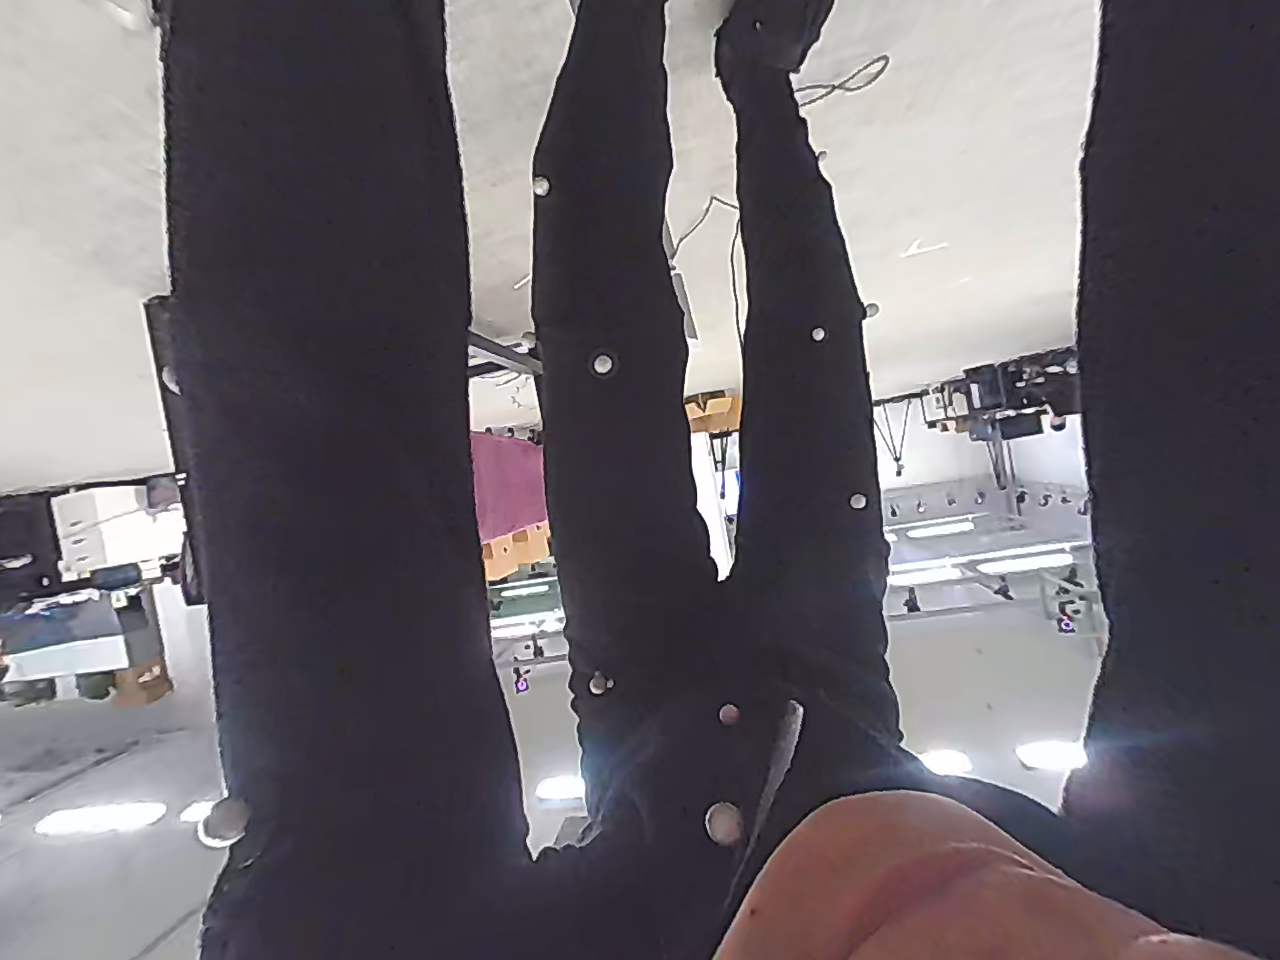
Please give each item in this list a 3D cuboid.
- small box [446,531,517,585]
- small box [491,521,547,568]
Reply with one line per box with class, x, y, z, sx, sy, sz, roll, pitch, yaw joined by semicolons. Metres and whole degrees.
small box;-0.573;0.283;1.956;0.179;0.176;0.168;-11;-179;12
small box;-0.504;0.265;2.221;0.179;0.176;0.168;-11;-179;14
